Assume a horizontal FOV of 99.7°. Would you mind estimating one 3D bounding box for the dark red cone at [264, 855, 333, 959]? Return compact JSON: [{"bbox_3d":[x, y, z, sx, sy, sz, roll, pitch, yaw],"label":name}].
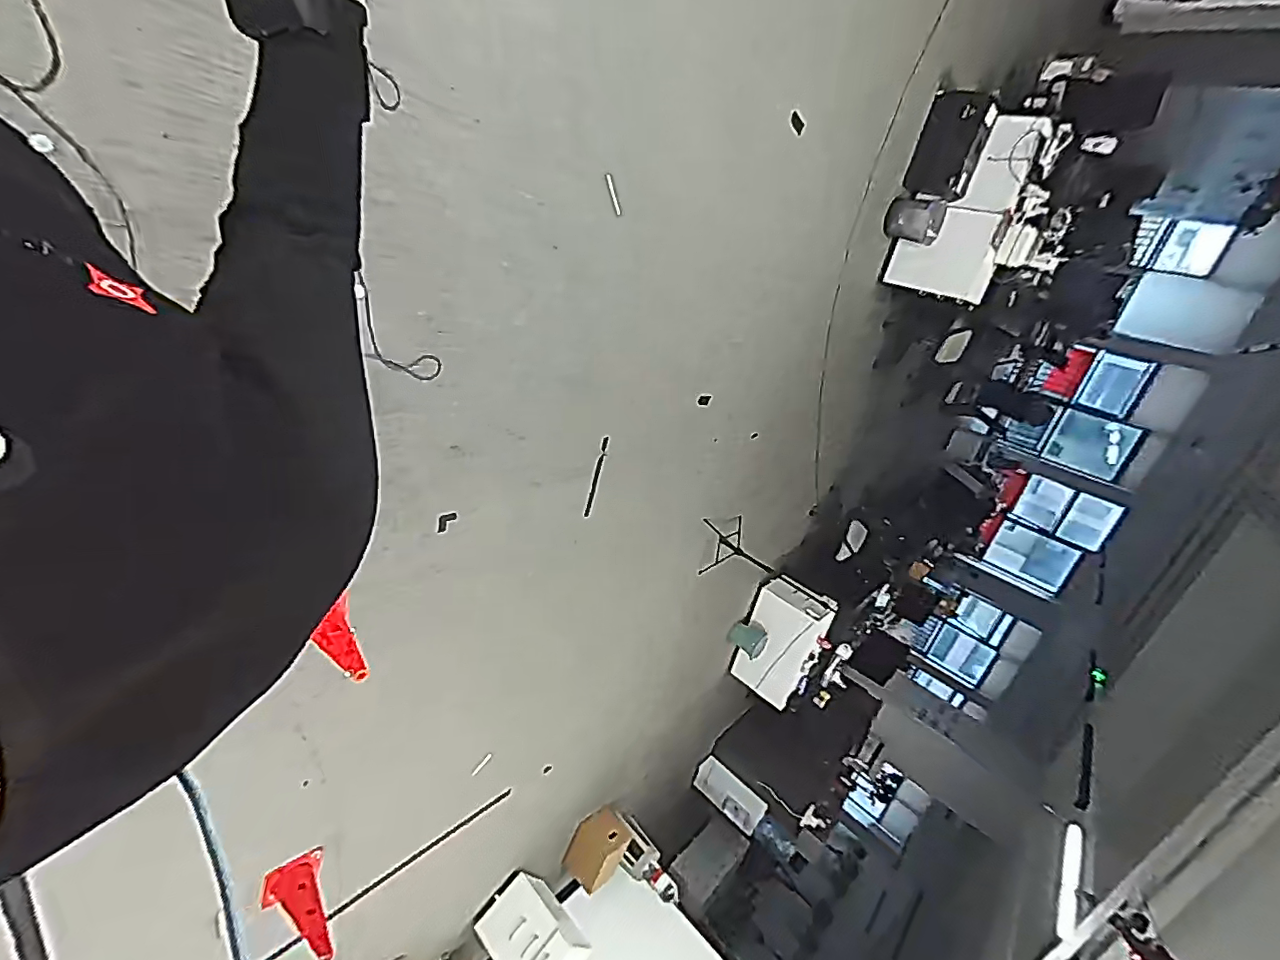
[{"bbox_3d":[-1.222,1.637,2.005,0.201,0.394,0.202,-4,118,-50],"label":"dark red cone"}]
